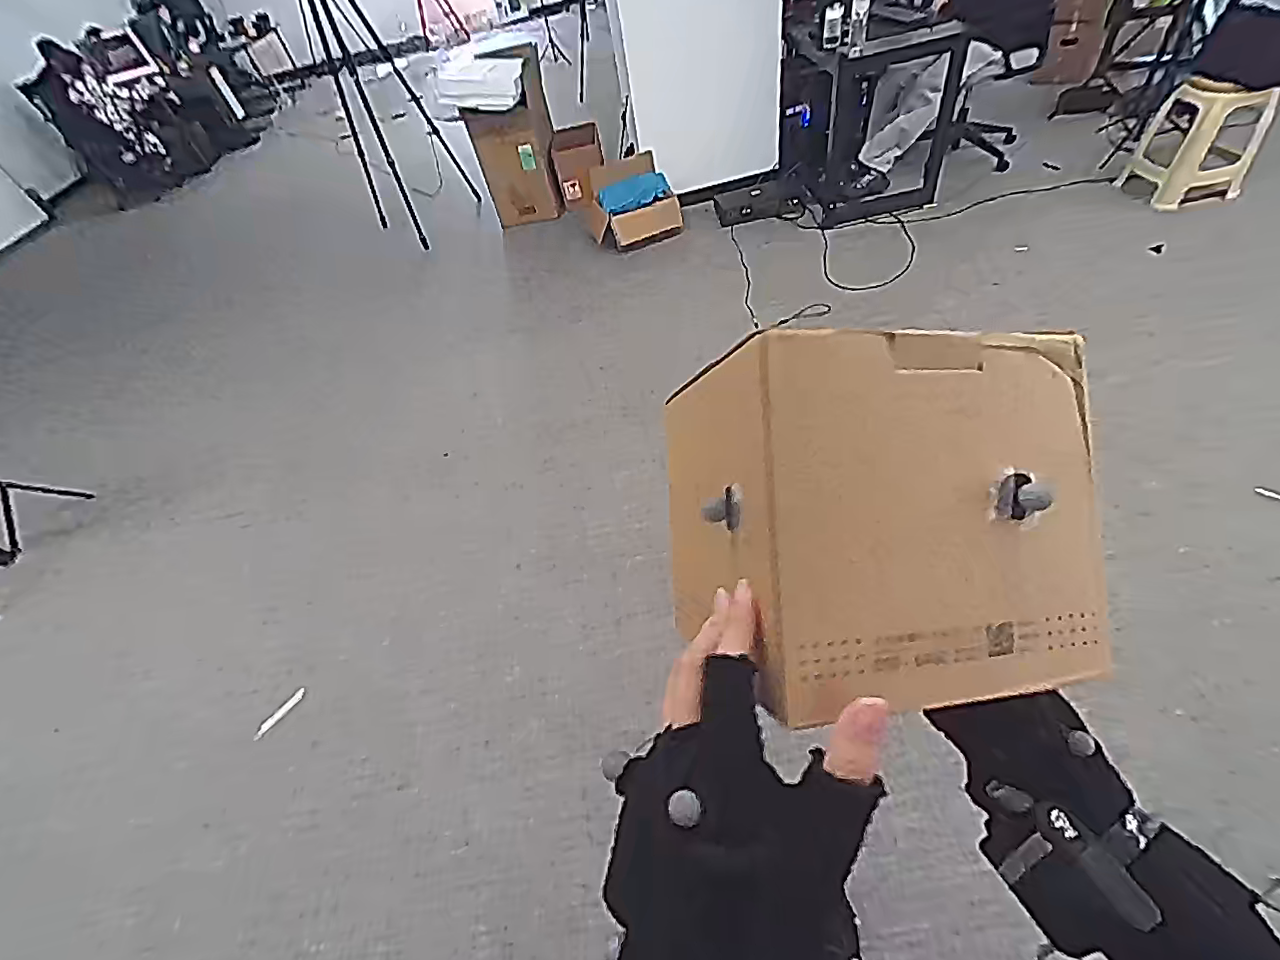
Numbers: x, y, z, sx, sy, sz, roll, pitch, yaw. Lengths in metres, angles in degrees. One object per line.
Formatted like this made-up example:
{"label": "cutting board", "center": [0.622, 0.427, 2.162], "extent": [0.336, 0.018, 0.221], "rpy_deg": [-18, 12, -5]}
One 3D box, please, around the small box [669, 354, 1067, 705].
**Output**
{"label": "small box", "center": [0.119, 0.029, 0.336], "extent": [0.168, 0.179, 0.176], "rpy_deg": [-3, 88, -9]}
